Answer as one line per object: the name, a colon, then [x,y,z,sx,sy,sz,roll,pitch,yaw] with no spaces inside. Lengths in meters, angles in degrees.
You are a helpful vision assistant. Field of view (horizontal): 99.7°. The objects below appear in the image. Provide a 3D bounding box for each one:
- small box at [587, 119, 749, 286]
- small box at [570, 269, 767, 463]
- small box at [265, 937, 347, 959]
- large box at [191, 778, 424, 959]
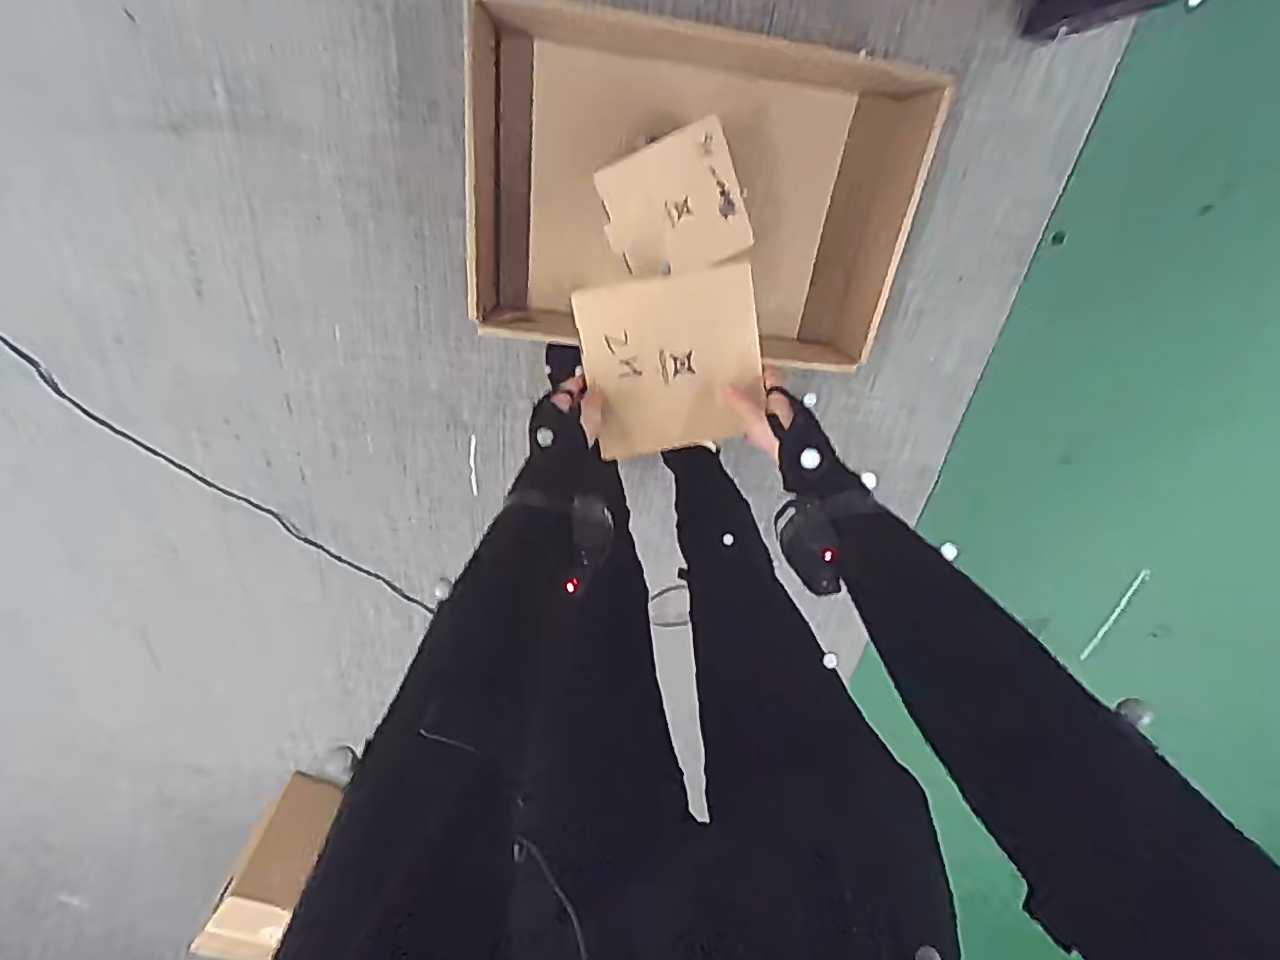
small box: [0.038,-0.389,0.786,0.179,0.176,0.168,-22,117,8]
small box: [0.026,-0.127,0.600,0.179,0.176,0.168,-10,104,0]
small box: [-0.844,1.250,1.298,0.168,0.176,0.179,37,110,-20]
large box: [-0.888,1.107,1.496,0.408,0.320,0.320,33,111,-18]
